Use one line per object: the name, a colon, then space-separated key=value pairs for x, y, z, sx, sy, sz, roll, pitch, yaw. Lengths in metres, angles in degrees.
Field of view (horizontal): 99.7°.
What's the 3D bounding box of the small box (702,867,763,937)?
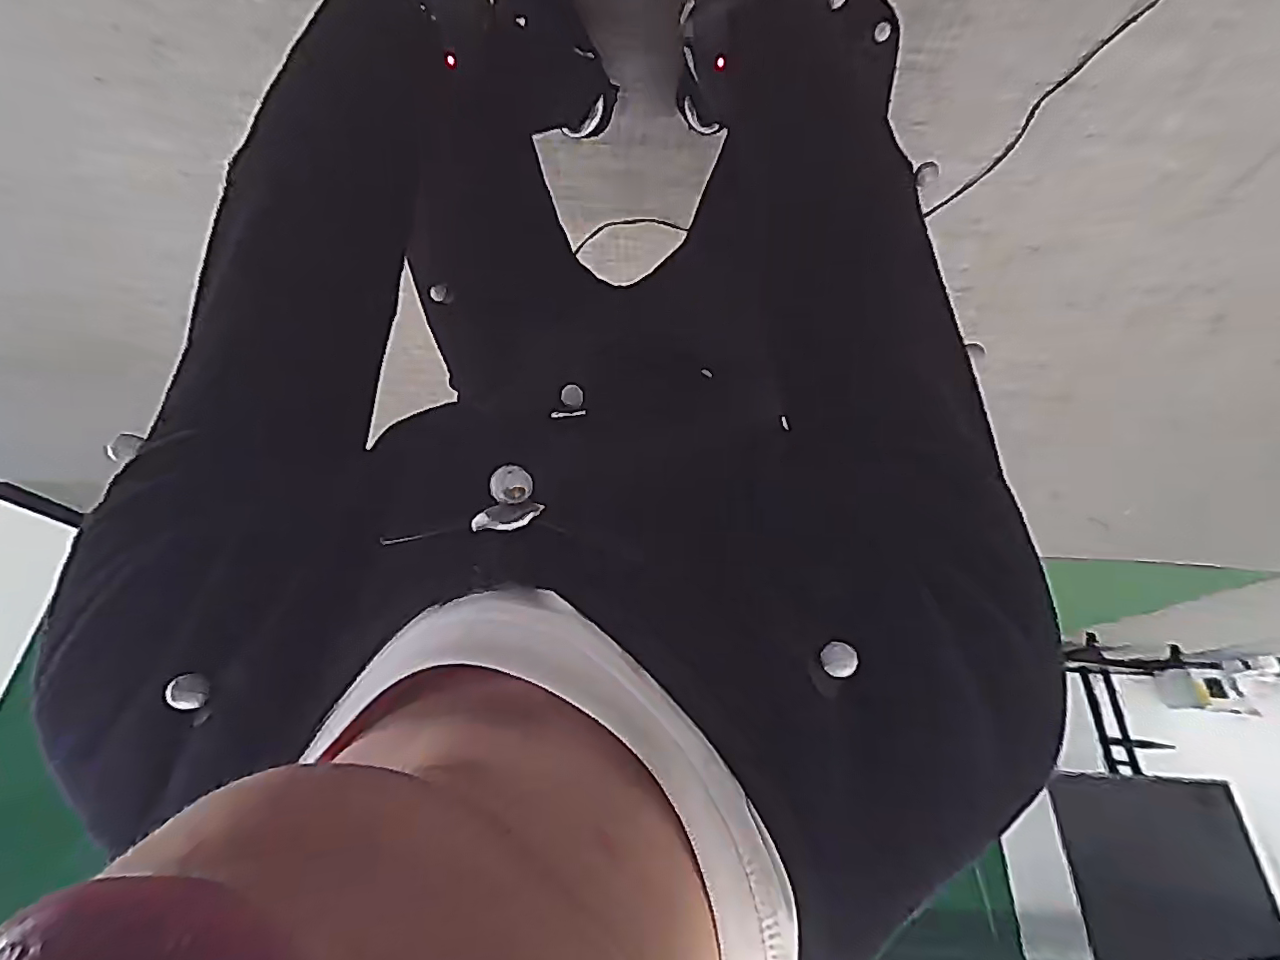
small box: x=0.320 y=1.473 z=1.894 sx=0.179 sy=0.176 sz=0.168 roll=5 pitch=150 yaw=-3
